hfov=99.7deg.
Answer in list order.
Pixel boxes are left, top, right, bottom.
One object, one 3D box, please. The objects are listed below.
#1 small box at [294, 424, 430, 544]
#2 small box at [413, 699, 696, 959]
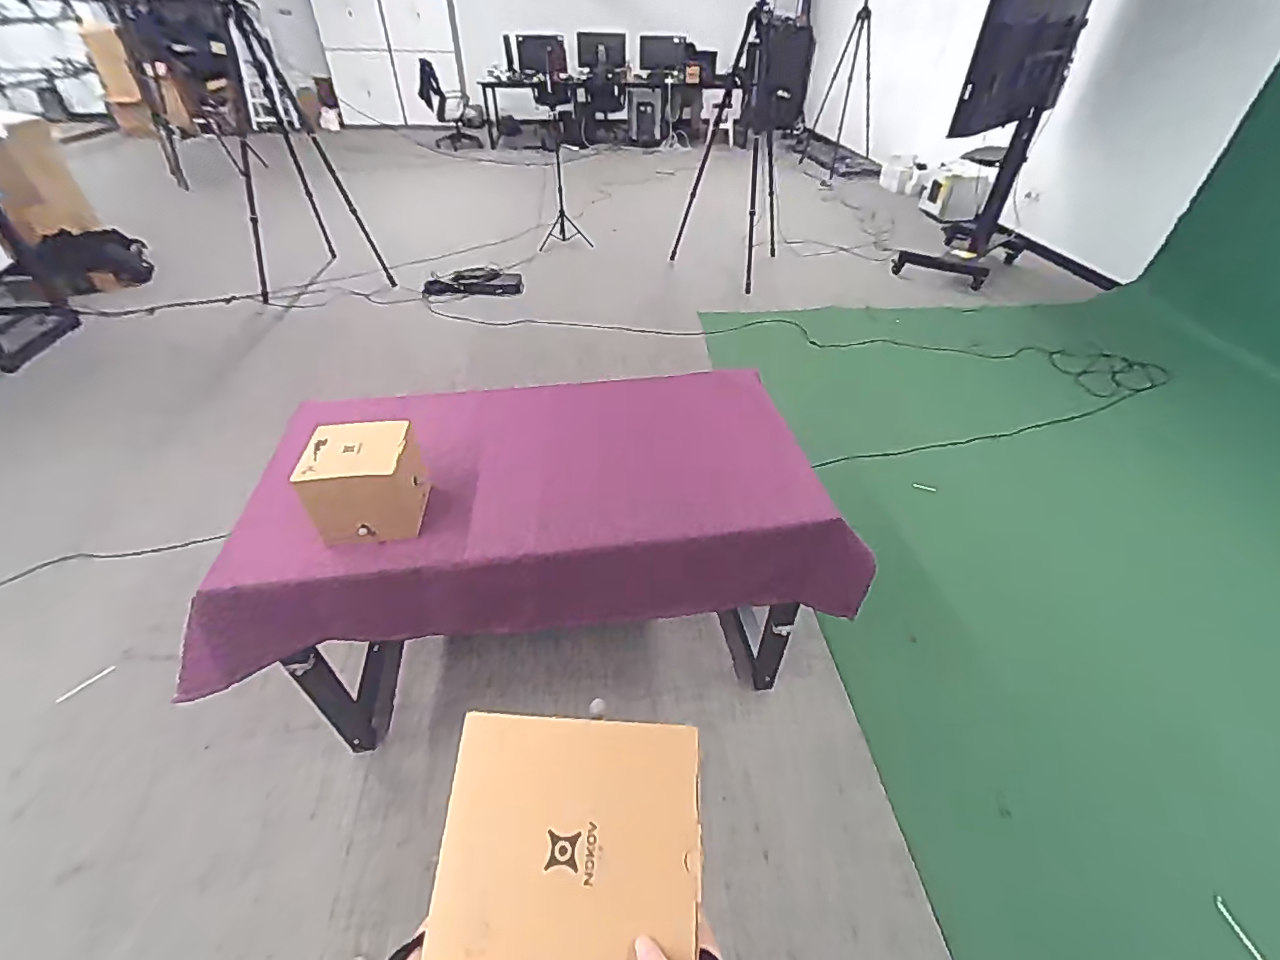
[{"bbox_3d":[-0.523,0.008,1.051,0.179,0.176,0.168,-4,41,-6],"label":"small box"},{"bbox_3d":[-0.049,0.279,0.436,0.179,0.176,0.168,3,63,1],"label":"small box"}]
